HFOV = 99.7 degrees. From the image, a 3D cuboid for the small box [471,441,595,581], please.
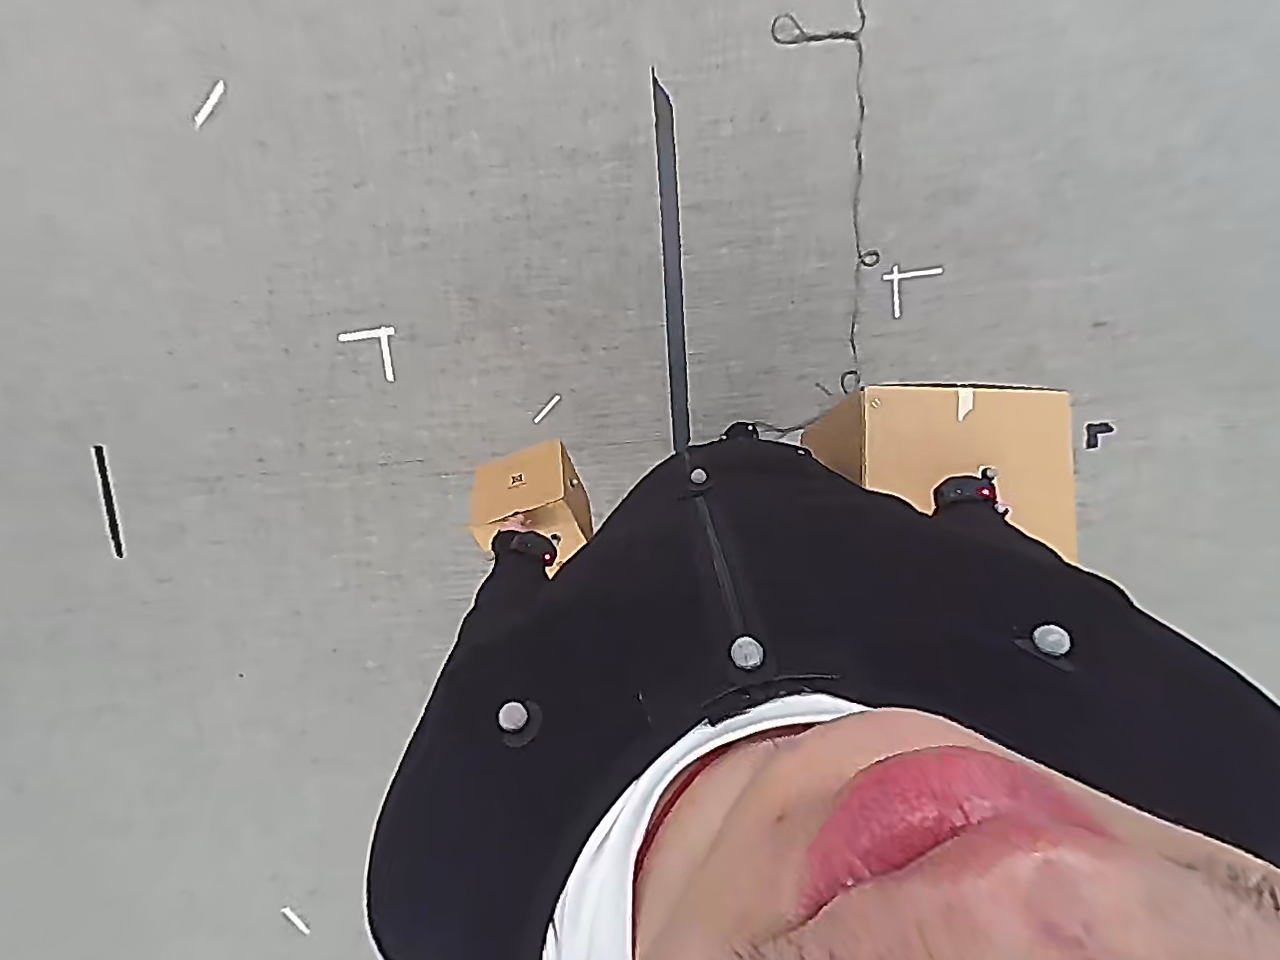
[{"bbox_3d":[-0.188,0.063,0.984,0.168,0.179,0.176,-18,130,3],"label":"small box"}]
